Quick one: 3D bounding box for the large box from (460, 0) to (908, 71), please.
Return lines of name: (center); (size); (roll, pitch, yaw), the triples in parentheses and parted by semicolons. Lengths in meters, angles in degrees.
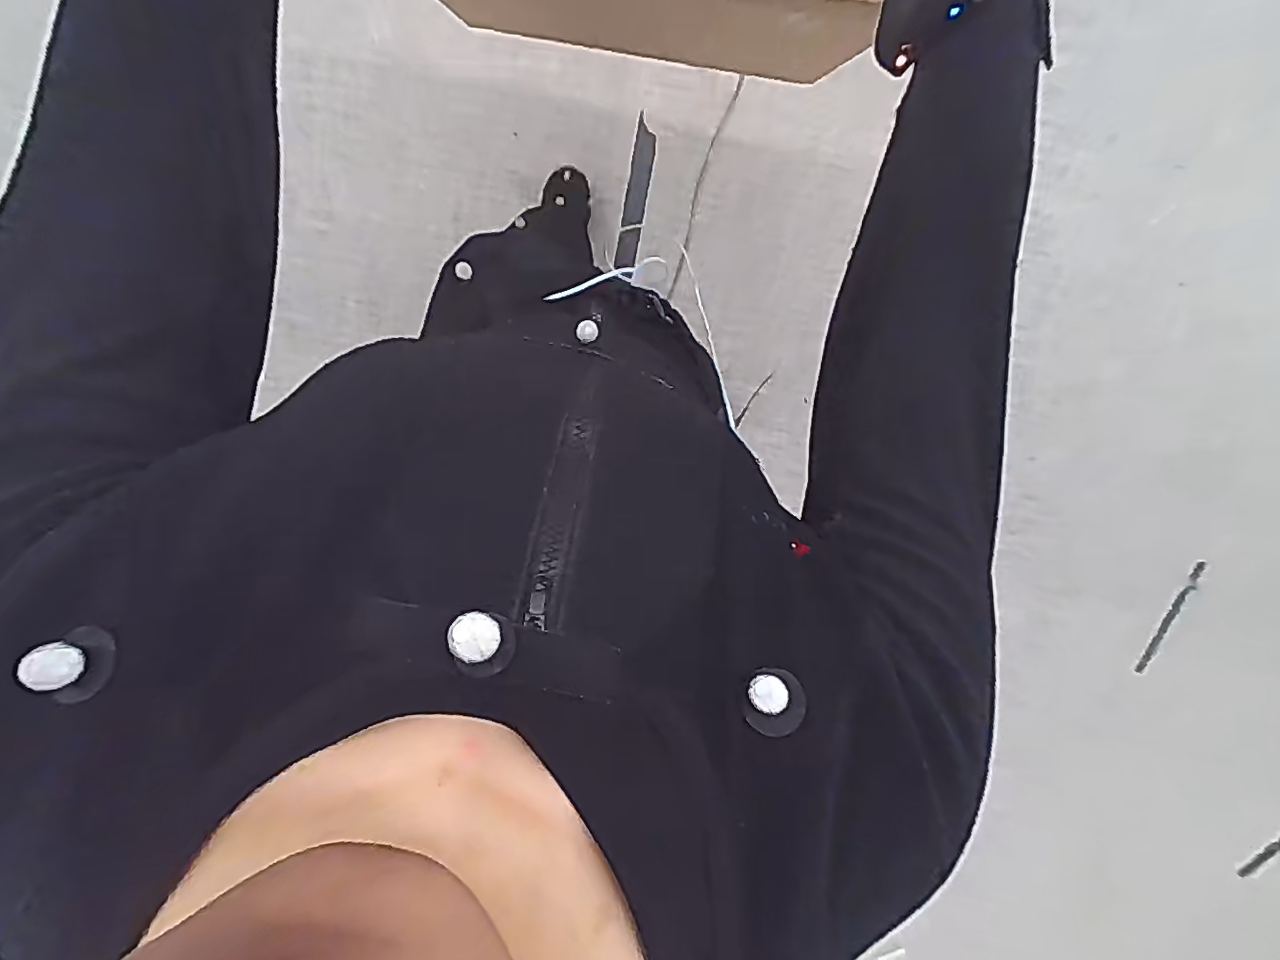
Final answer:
large box: (0.023, -0.559, 0.419); (0.408, 0.320, 0.320); (8, 120, -3)
